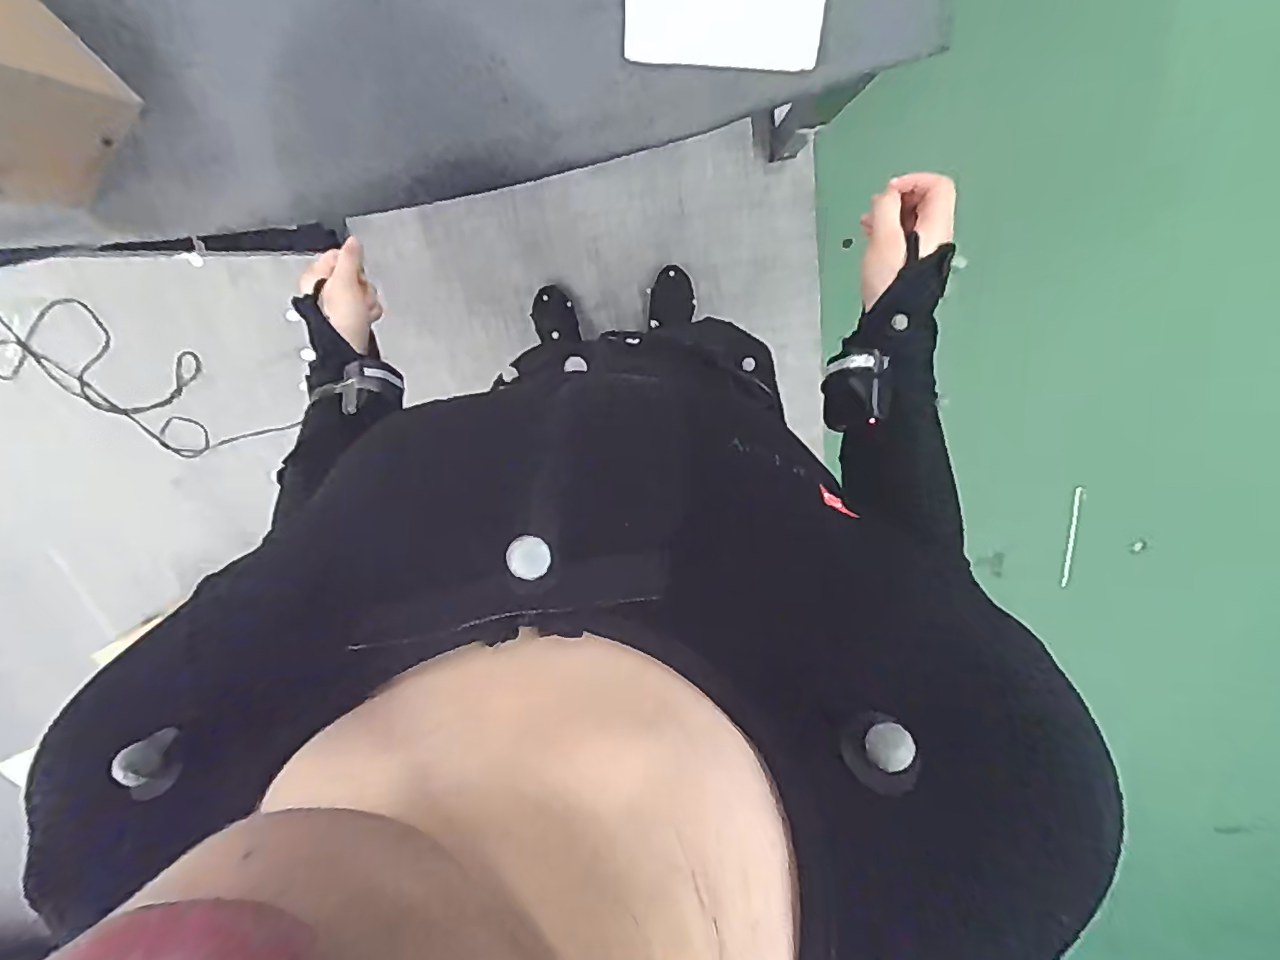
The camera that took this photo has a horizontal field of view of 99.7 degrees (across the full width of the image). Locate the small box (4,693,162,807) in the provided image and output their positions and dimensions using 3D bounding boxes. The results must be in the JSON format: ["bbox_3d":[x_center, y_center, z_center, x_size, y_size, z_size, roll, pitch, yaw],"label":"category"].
[{"bbox_3d":[-1.367,0.659,1.341,0.168,0.176,0.179,-24,109,12],"label":"small box"}]
